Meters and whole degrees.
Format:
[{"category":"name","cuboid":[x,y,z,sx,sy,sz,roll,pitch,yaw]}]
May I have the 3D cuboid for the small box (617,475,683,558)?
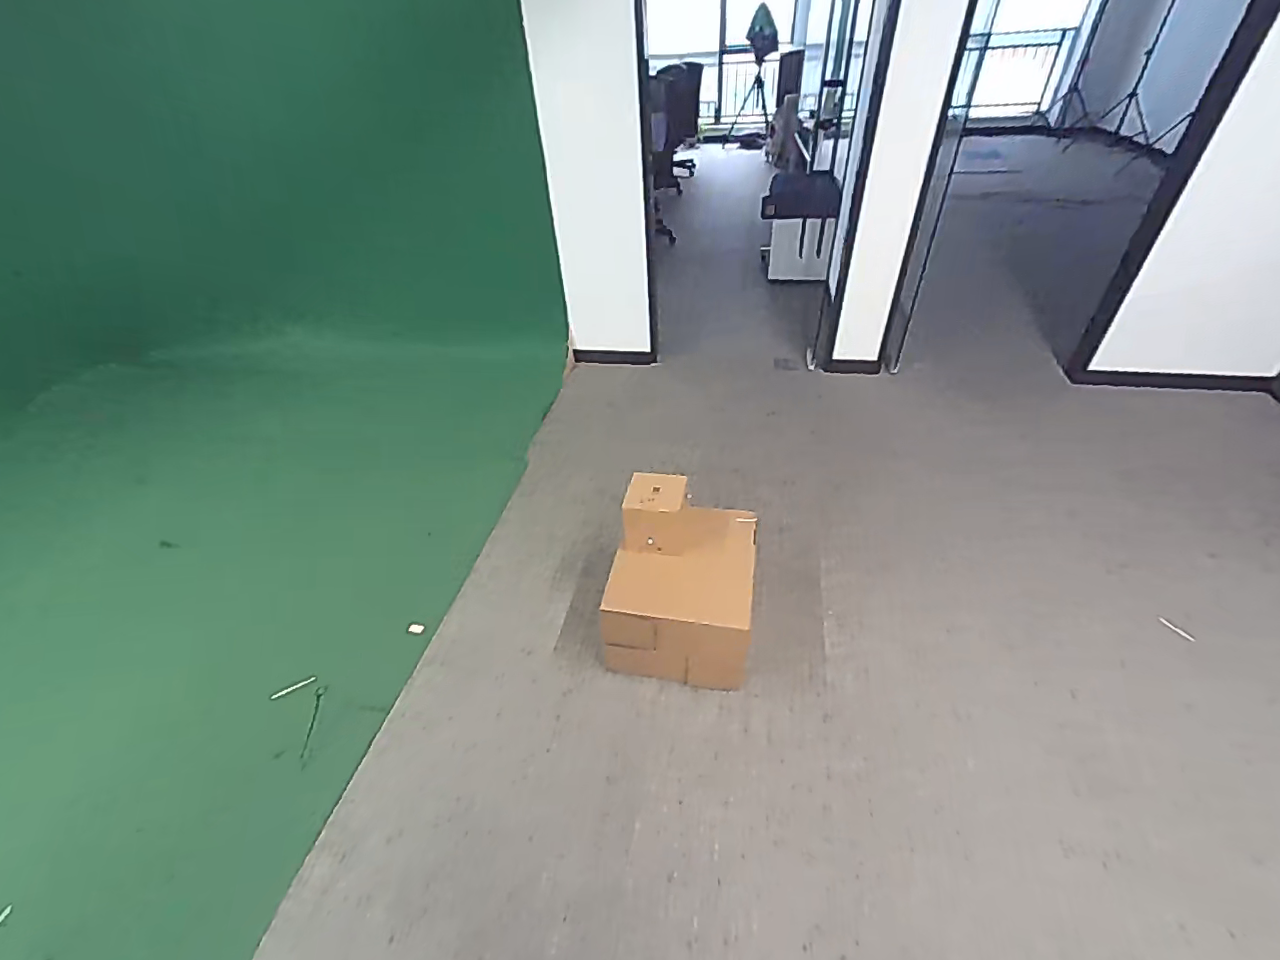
[{"category":"small box","cuboid":[0.034,0.107,1.619,0.168,0.176,0.179,4,38,11]}]
